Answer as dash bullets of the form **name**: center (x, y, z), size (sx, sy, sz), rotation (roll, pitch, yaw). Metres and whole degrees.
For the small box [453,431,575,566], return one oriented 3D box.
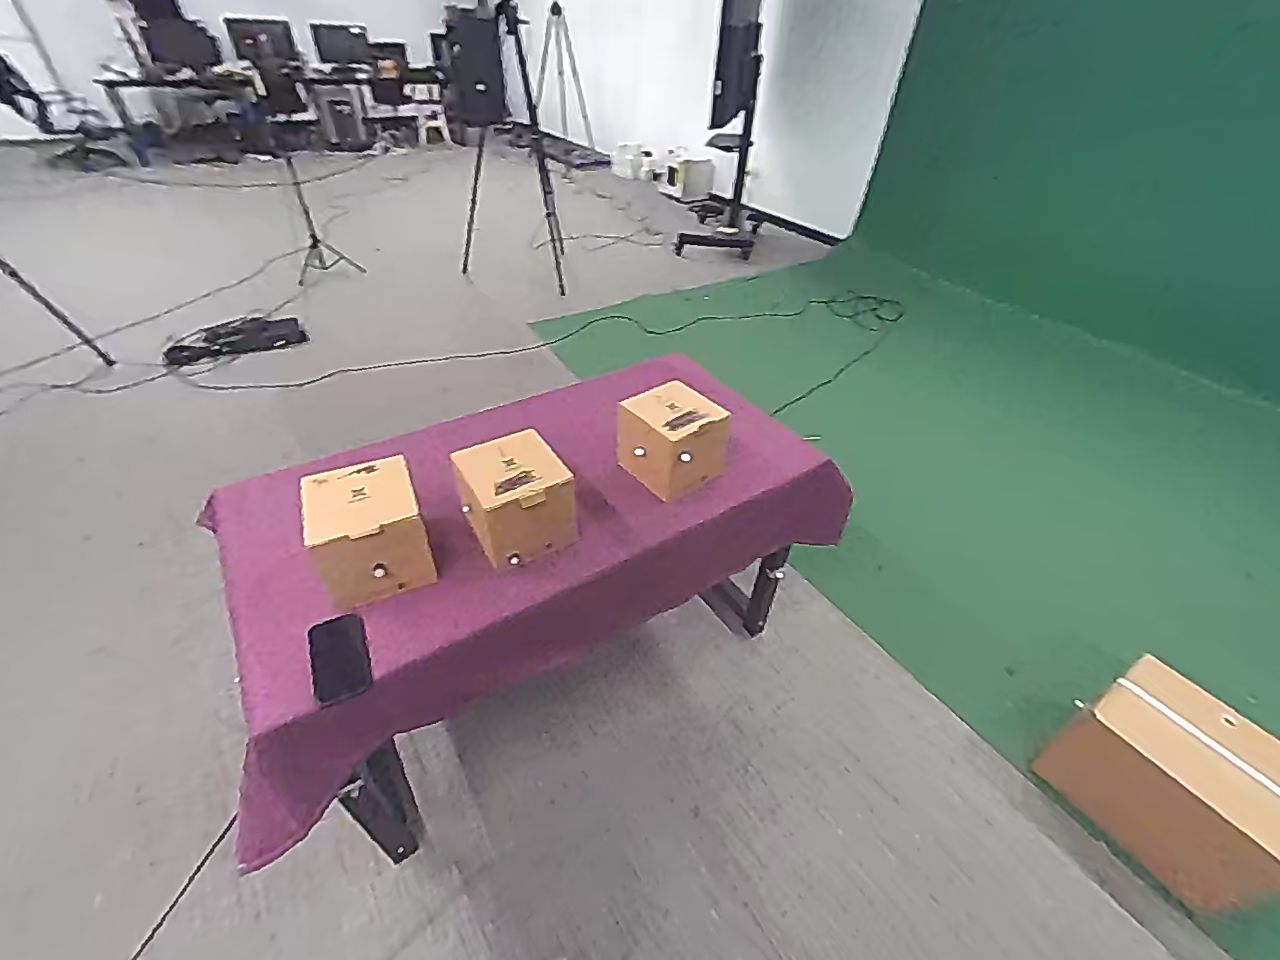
- **small box**: center (-0.232, 0.039, 1.020), size (0.168, 0.176, 0.179), rotation (-22, 46, -26)

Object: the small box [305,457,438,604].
- **small box**: center (-0.464, 0.092, 0.944), size (0.168, 0.176, 0.179), rotation (-16, 45, -21)
